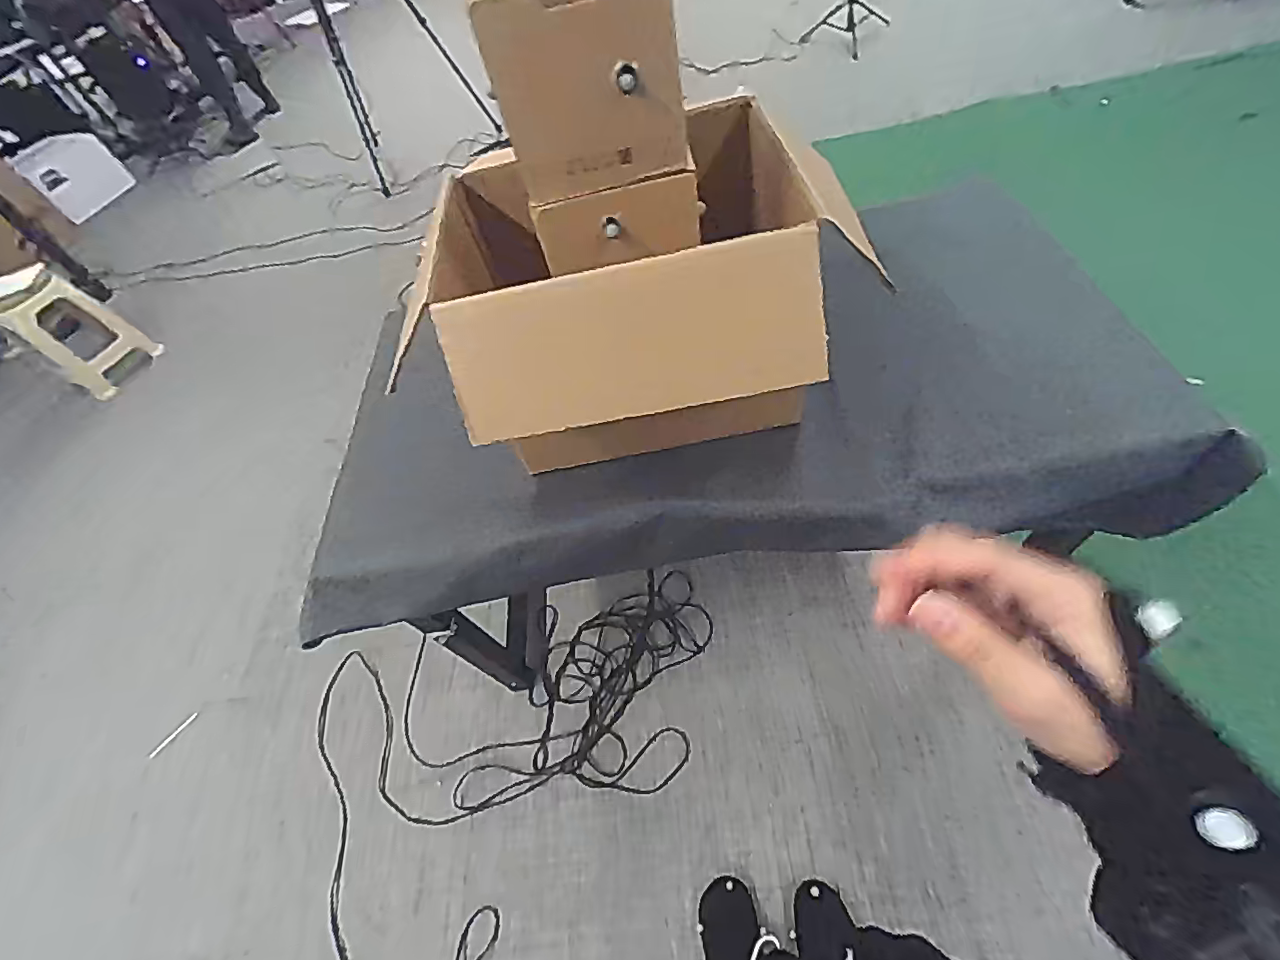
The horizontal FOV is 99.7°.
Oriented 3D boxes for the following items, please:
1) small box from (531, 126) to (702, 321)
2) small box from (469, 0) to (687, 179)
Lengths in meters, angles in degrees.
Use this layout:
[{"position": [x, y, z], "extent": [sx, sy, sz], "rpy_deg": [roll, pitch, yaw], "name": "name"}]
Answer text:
[{"position": [-0.022, -0.321, 0.658], "extent": [0.179, 0.176, 0.168], "rpy_deg": [-10, 54, 5], "name": "small box"}, {"position": [-0.050, -0.419, 0.531], "extent": [0.168, 0.176, 0.179], "rpy_deg": [-9, 53, 5], "name": "small box"}]
